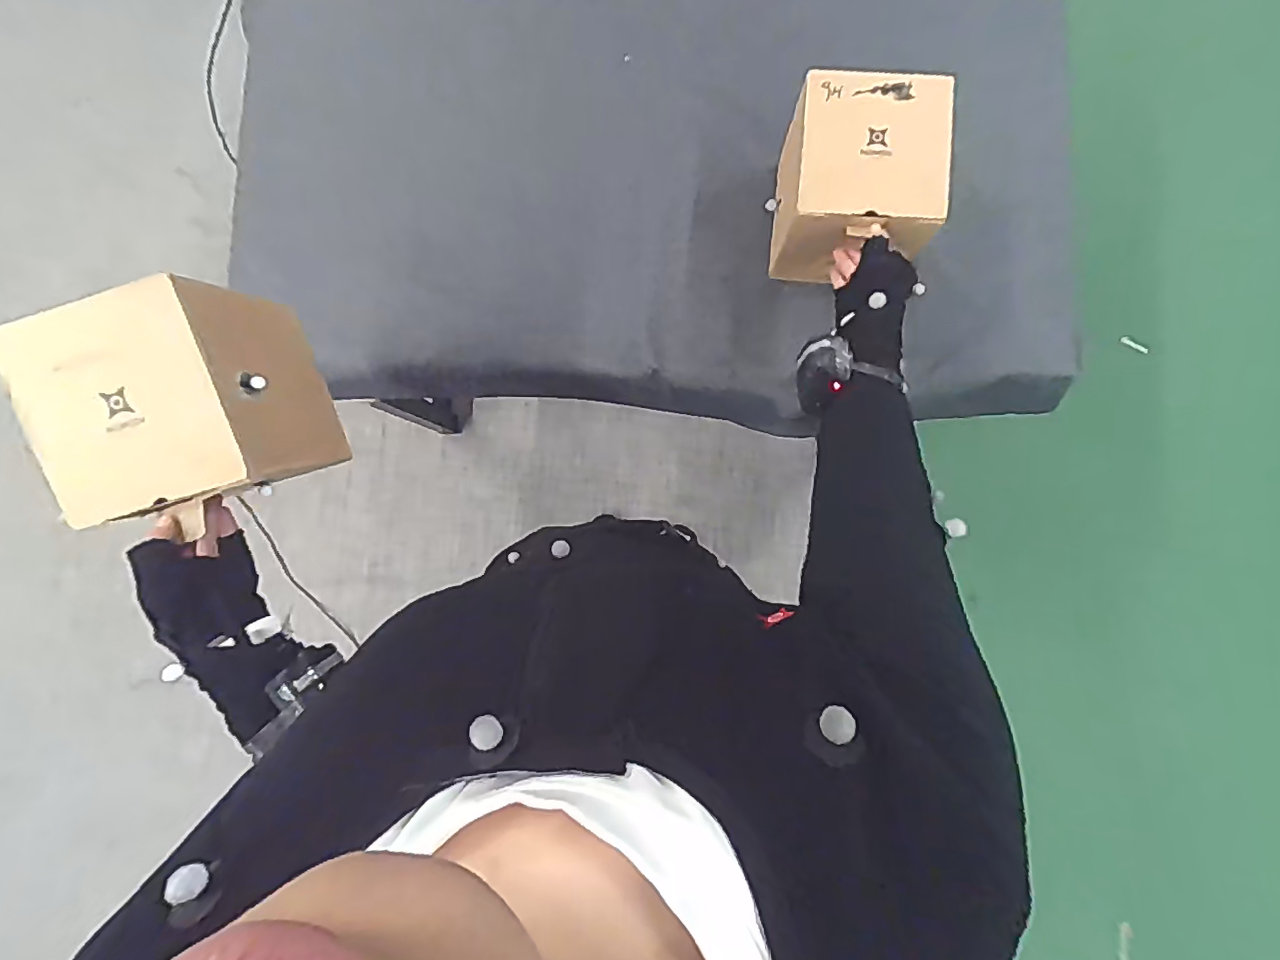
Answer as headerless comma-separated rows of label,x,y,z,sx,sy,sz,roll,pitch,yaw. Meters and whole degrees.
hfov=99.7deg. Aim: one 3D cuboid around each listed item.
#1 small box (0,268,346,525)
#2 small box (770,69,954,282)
small box,-0.422,-0.077,0.518,0.168,0.176,0.179,-16,98,2
small box,0.267,-0.371,0.688,0.168,0.176,0.179,6,87,3
